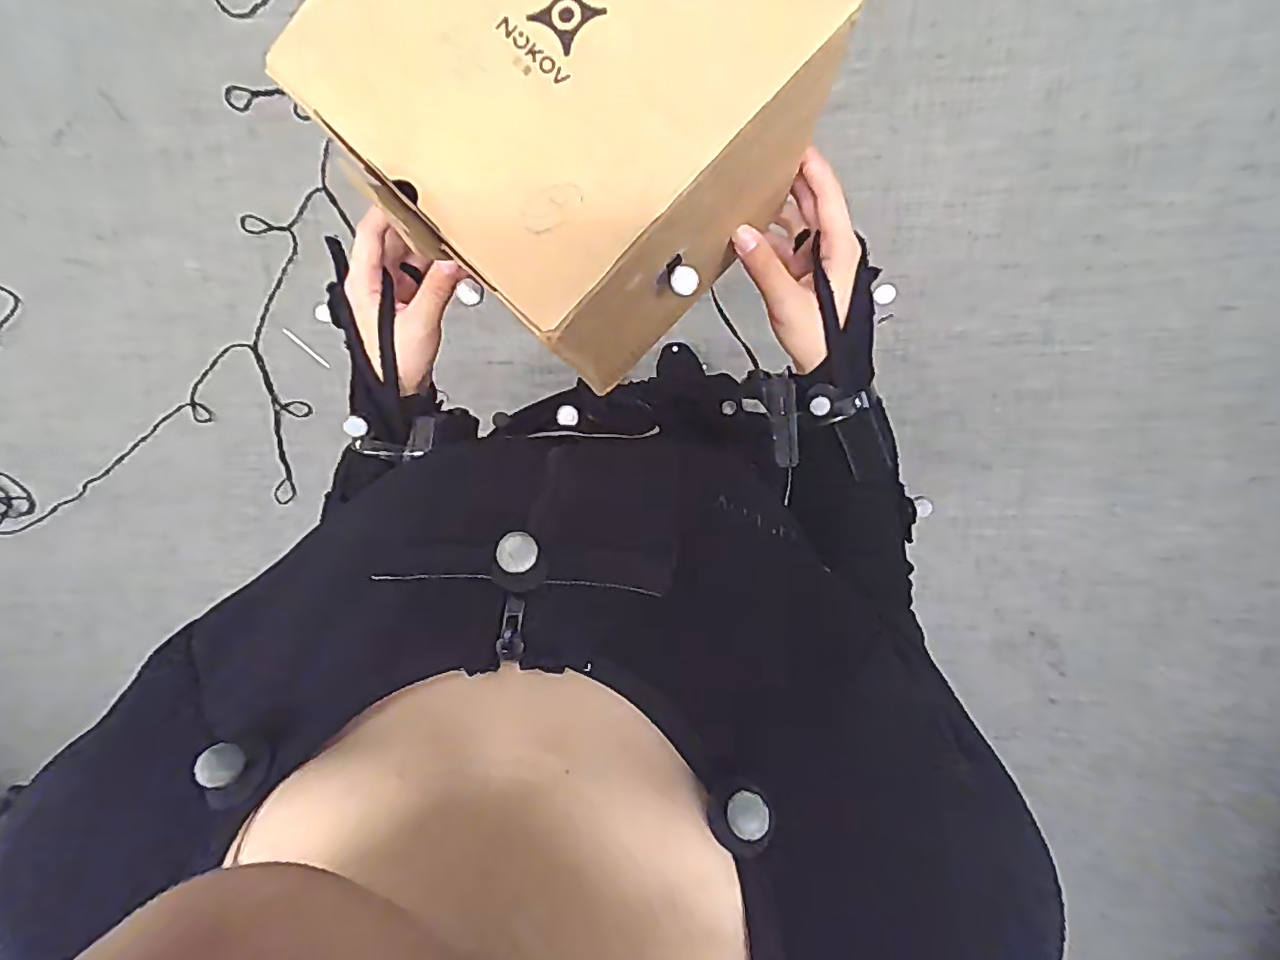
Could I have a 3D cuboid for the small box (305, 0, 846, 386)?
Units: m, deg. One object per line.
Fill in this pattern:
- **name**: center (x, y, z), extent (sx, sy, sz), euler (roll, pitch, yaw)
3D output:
- **small box**: center (-0.024, -0.174, 0.304), extent (0.168, 0.176, 0.179), euler (44, 94, 2)
